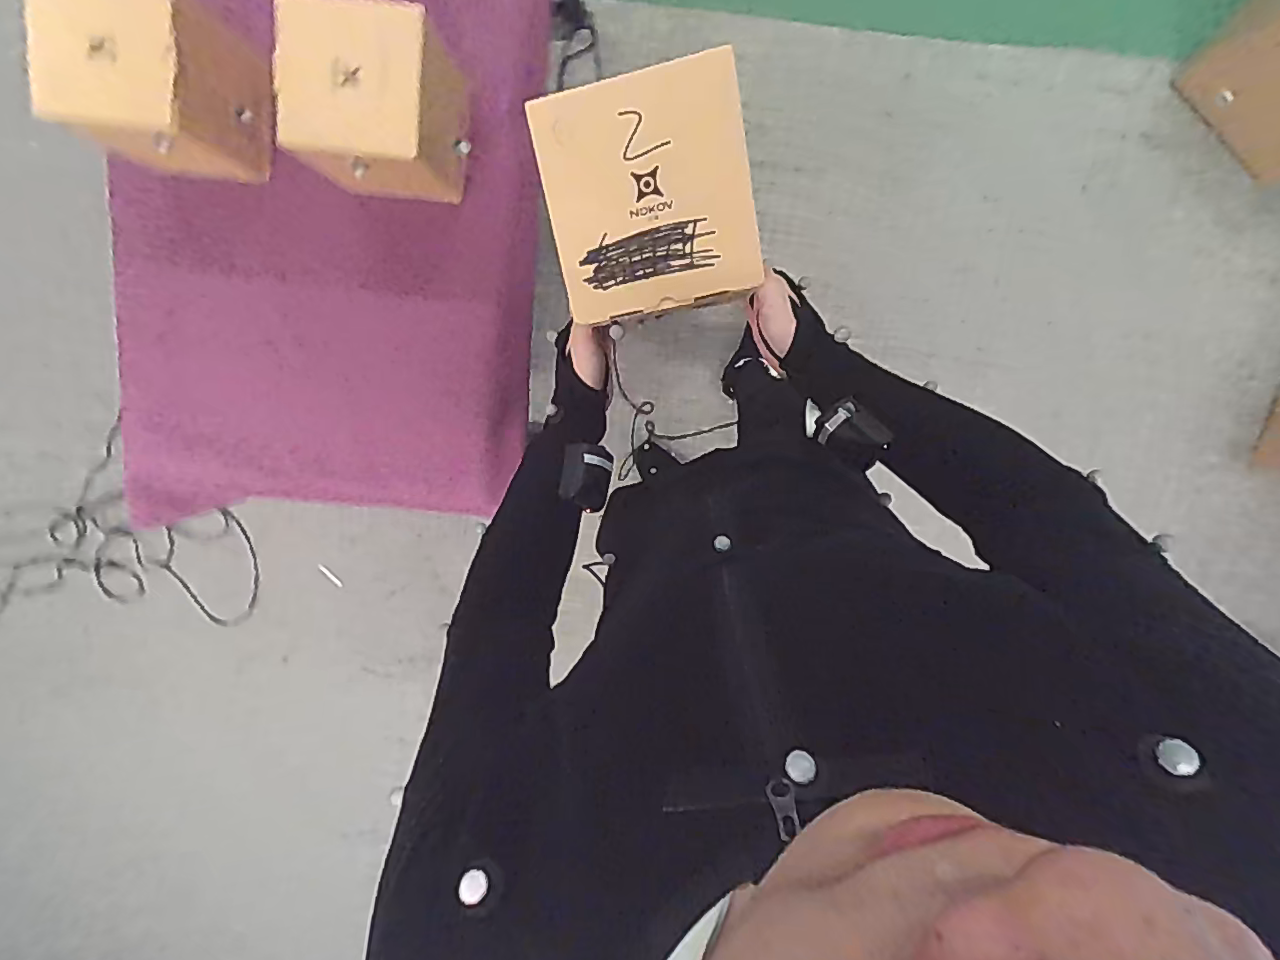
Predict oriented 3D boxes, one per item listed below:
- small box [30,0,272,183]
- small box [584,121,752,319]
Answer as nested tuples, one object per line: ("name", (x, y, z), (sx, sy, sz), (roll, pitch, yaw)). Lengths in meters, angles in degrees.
("small box", (-0.636, -0.519, 0.721), (0.179, 0.176, 0.168), (6, 99, -1))
("small box", (0.041, -0.300, 0.664), (0.168, 0.176, 0.179), (-8, 105, 7))
